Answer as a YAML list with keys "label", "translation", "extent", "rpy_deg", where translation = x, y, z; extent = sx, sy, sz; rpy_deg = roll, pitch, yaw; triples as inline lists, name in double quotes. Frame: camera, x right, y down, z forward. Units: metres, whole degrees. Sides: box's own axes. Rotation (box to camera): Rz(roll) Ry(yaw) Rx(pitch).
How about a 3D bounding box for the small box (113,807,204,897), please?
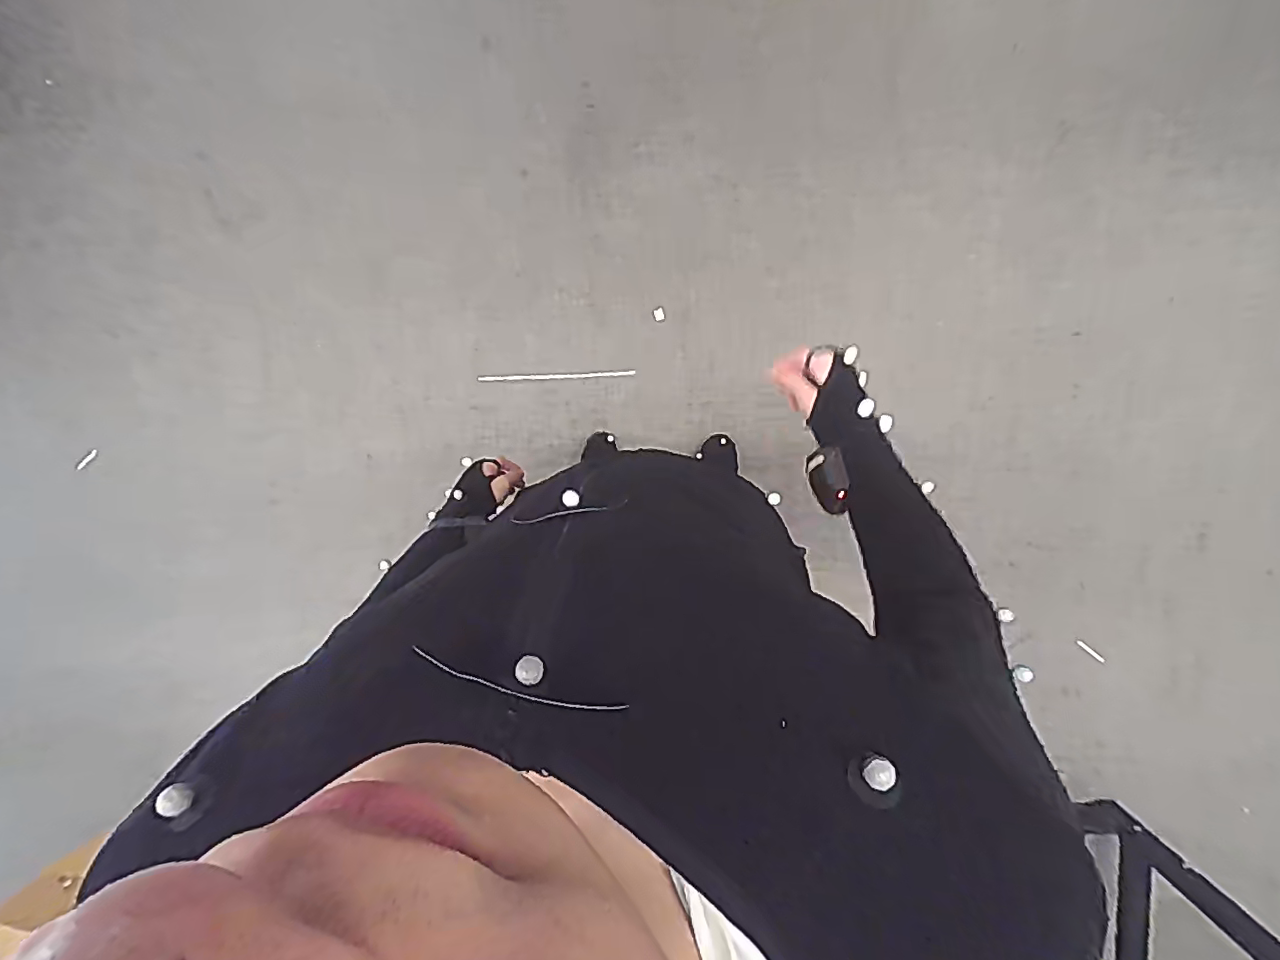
- label: "small box"
  translation: [-1.546, 1.182, 1.731]
  extent: [0.179, 0.176, 0.168]
  rpy_deg: [6, 94, 2]

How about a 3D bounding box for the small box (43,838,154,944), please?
- label: "small box"
  translation: [-1.563, 1.184, 1.569]
  extent: [0.168, 0.176, 0.179]
  rpy_deg: [5, 95, 4]

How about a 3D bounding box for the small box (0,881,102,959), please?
- label: "small box"
  translation: [-1.563, 1.202, 1.407]
  extent: [0.168, 0.176, 0.179]
  rpy_deg: [9, 95, 2]
